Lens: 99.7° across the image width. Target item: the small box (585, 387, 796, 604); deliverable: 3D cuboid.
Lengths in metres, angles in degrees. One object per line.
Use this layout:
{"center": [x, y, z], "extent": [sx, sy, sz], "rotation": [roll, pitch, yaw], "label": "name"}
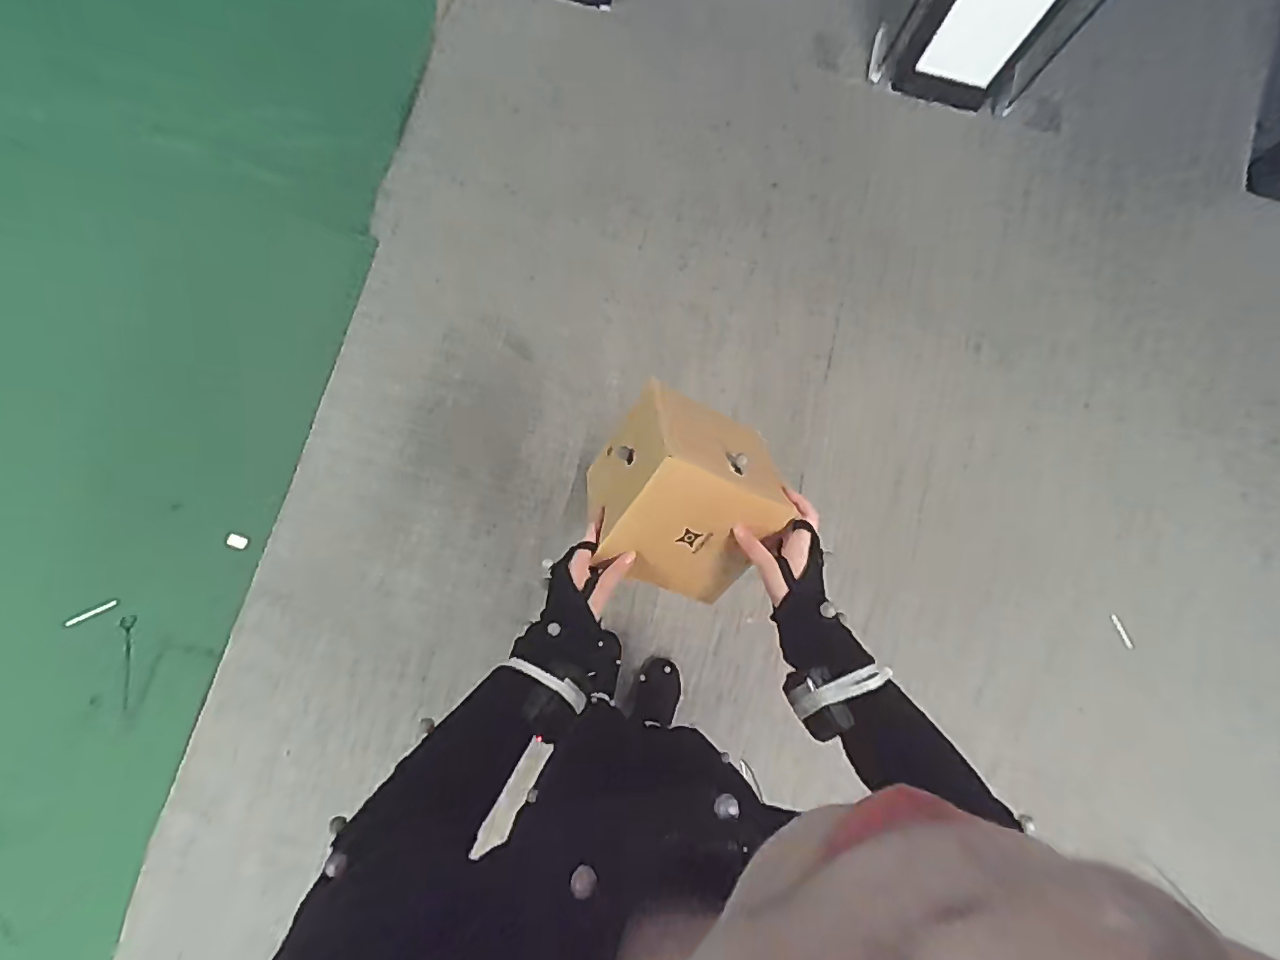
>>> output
{"center": [0.045, 0.014, 0.644], "extent": [0.179, 0.176, 0.168], "rotation": [22, 123, -23], "label": "small box"}
